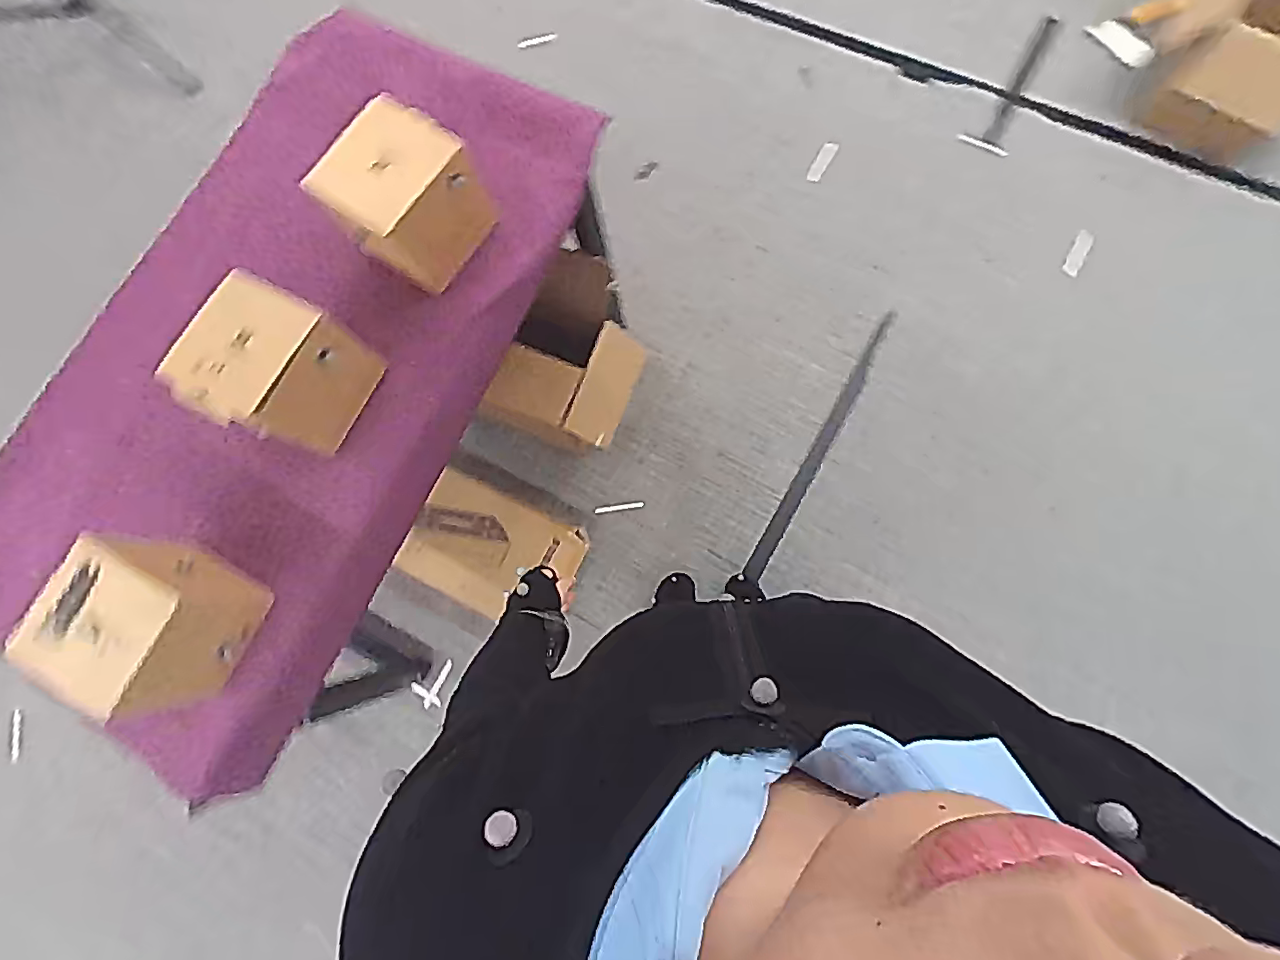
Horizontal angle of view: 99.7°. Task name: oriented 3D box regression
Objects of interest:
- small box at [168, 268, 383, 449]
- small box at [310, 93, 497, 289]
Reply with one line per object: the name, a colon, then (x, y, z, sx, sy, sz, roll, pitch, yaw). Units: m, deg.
small box: (-0.521, -0.170, 0.805, 0.168, 0.176, 0.179, 26, 82, 11)
small box: (-0.352, -0.437, 0.845, 0.168, 0.176, 0.179, 34, 83, 10)
